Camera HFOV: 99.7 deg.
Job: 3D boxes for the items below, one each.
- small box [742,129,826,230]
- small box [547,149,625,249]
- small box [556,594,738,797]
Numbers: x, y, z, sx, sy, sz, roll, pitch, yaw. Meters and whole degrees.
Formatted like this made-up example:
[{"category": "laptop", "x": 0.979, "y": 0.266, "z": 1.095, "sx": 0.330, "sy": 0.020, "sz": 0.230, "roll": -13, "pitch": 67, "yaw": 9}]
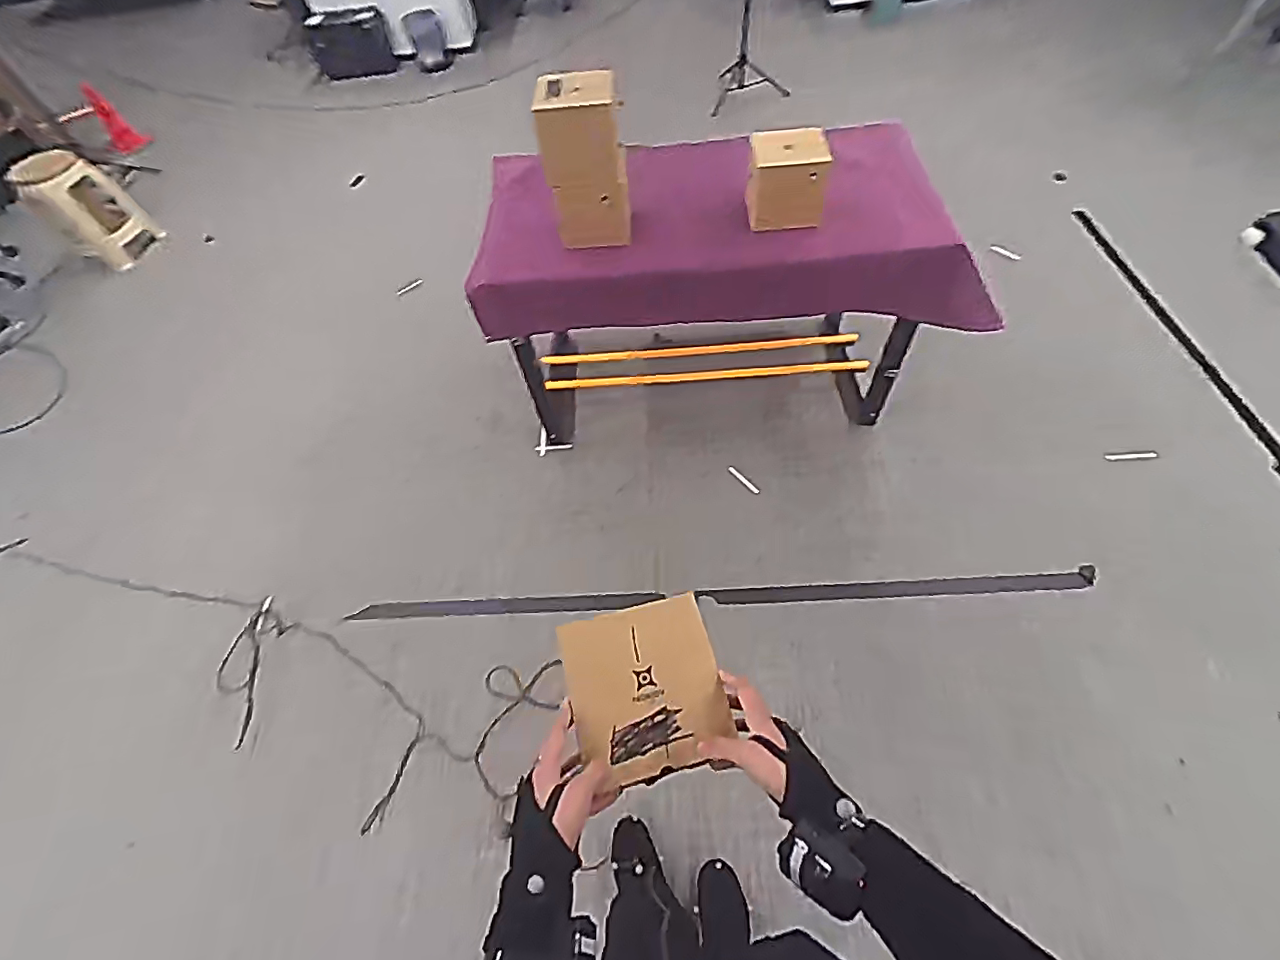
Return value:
[{"category": "small box", "x": 0.356, "y": -0.756, "z": 1.373, "sx": 0.179, "sy": 0.176, "sz": 0.168, "roll": -3, "pitch": 57, "yaw": 3}, {"category": "small box", "x": -0.131, "y": -0.720, "z": 1.393, "sx": 0.179, "sy": 0.176, "sz": 0.168, "roll": -2, "pitch": 57, "yaw": 4}, {"category": "small box", "x": 0.000, "y": 0.257, "z": 0.651, "sx": 0.168, "sy": 0.176, "sz": 0.179, "roll": -11, "pitch": 64, "yaw": -10}]
